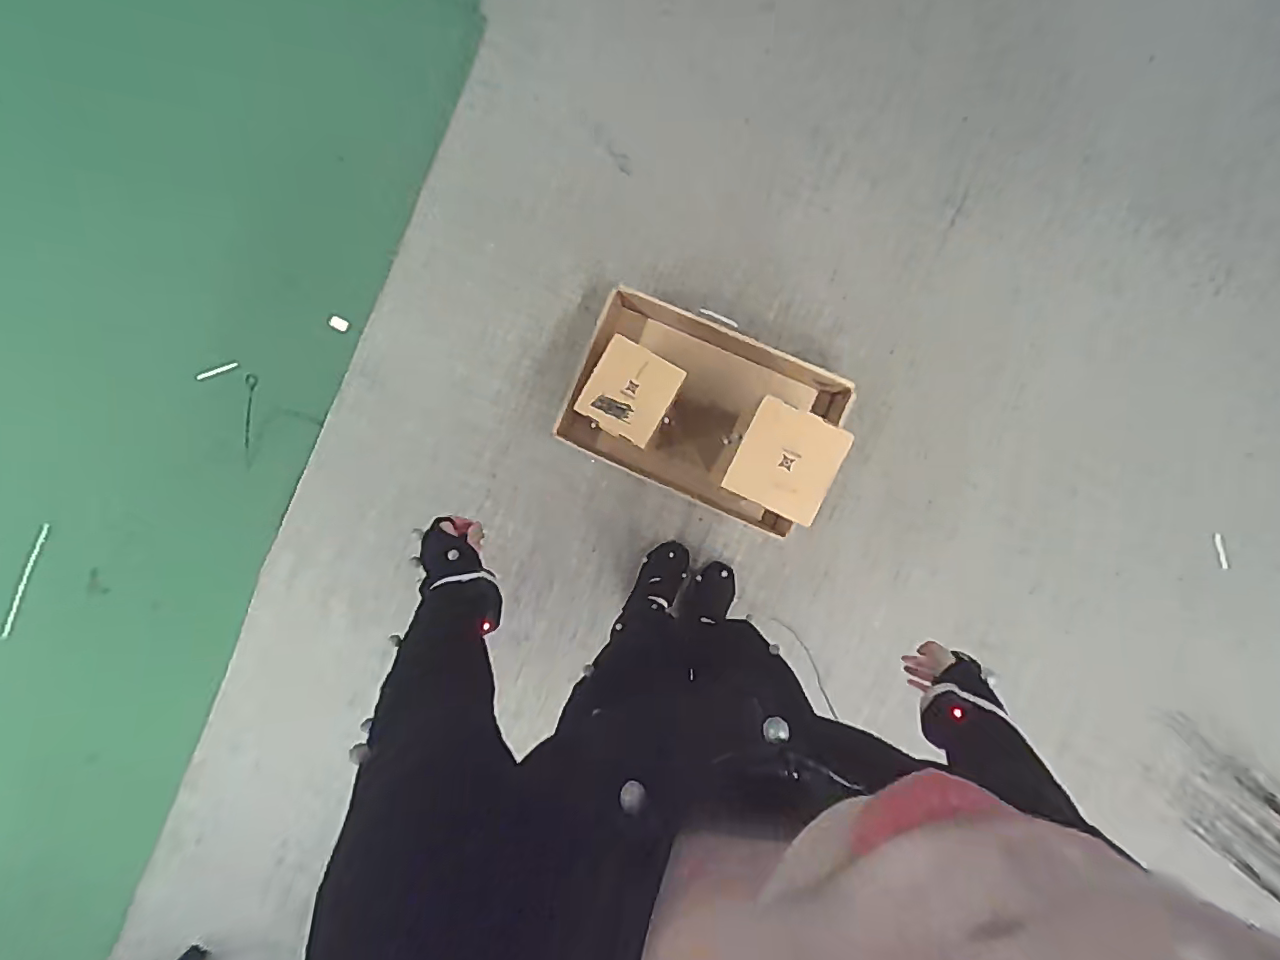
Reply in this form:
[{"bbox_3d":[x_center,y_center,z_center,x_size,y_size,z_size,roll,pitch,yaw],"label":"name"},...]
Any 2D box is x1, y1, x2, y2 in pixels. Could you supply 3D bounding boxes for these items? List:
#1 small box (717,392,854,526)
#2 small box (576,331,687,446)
[{"bbox_3d":[0.250,-0.037,0.983,0.168,0.176,0.179,27,93,3],"label":"small box"},{"bbox_3d":[-0.013,-0.183,1.154,0.168,0.176,0.179,30,92,1],"label":"small box"}]
